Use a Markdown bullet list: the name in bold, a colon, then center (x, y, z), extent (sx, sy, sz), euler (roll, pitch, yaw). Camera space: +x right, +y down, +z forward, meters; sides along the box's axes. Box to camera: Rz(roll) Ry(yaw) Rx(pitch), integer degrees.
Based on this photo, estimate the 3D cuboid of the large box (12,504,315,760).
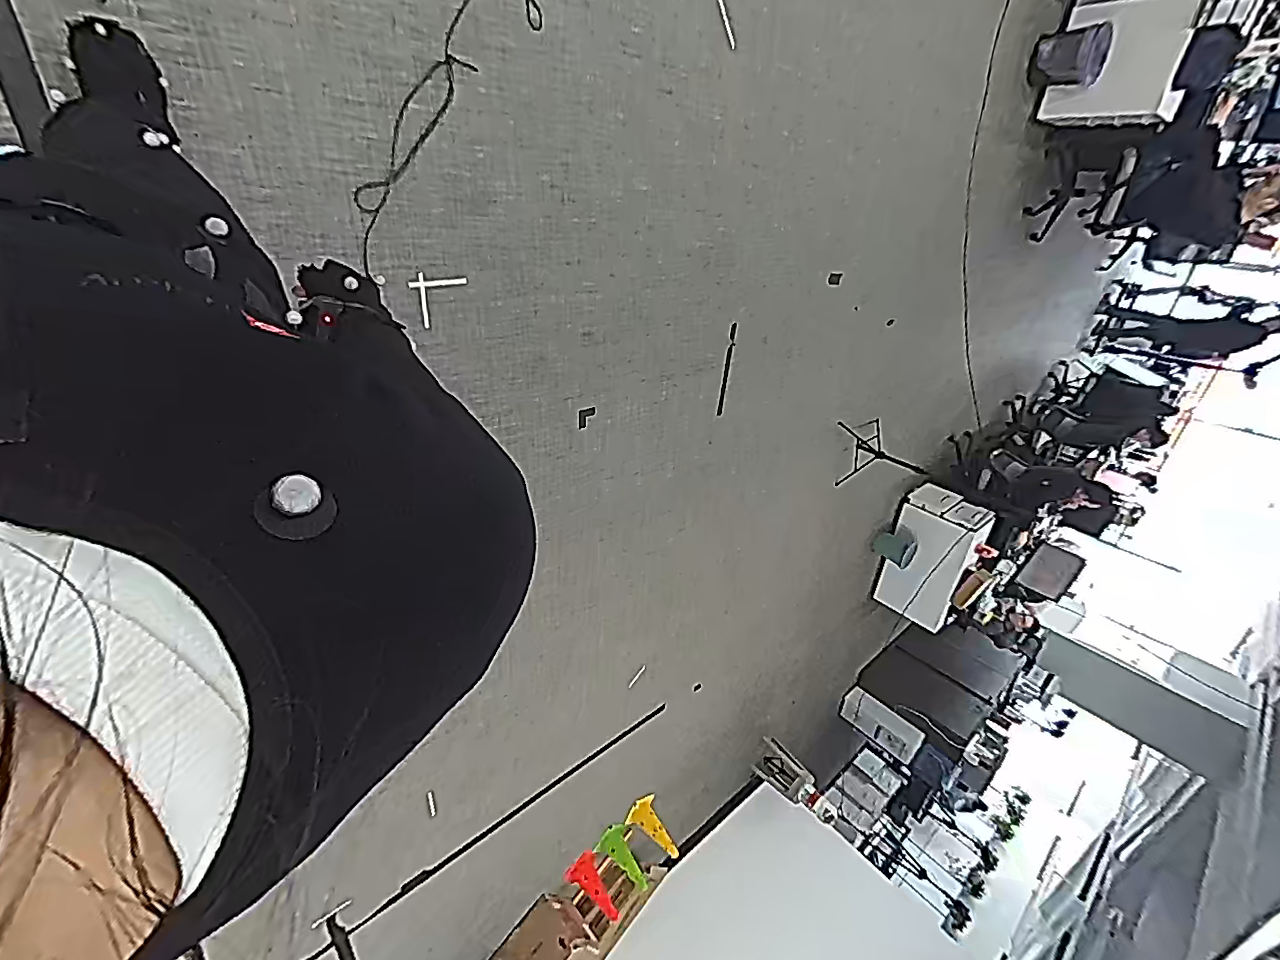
- **large box**: center (-0.996, 0.296, 1.181), extent (0.408, 0.320, 0.320), euler (-18, 124, -36)
